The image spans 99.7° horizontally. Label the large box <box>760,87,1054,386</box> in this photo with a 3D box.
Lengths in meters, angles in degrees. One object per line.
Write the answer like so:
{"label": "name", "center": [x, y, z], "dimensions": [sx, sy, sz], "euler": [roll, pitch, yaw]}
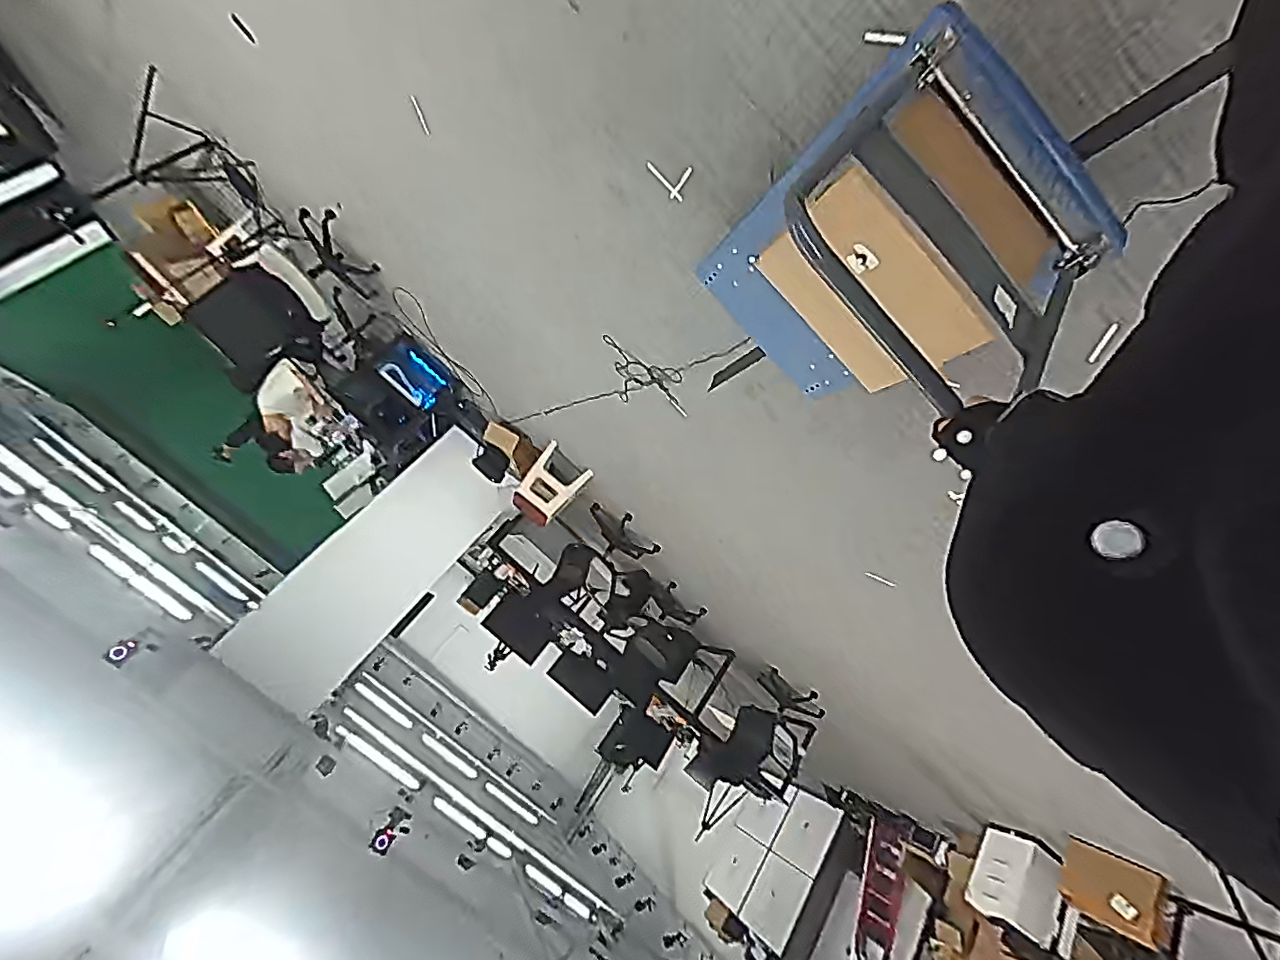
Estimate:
{"label": "large box", "center": [0.545, -0.478, 1.122], "dimensions": [0.408, 0.320, 0.320], "euler": [44, 155, -9]}
